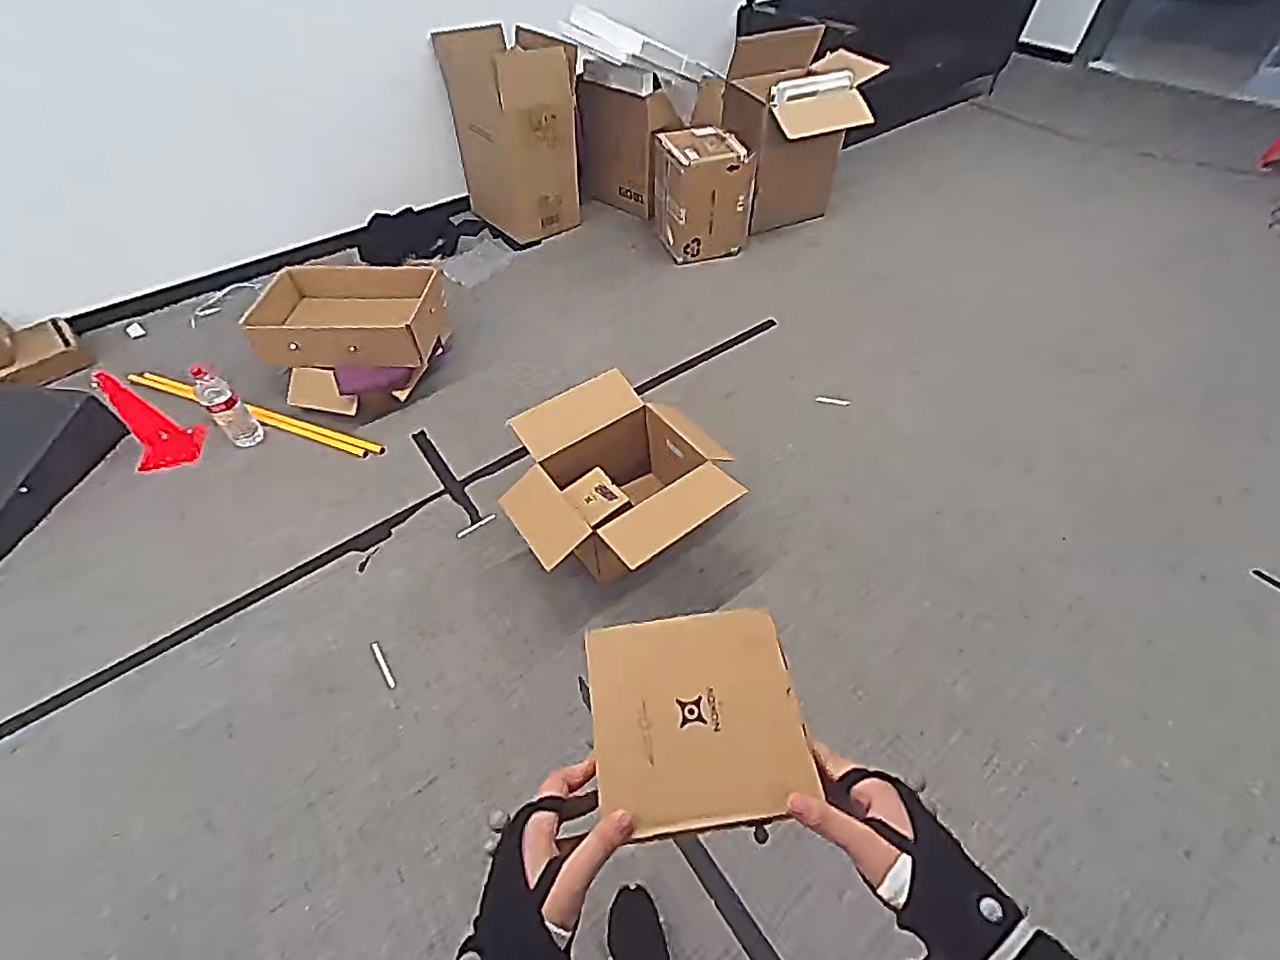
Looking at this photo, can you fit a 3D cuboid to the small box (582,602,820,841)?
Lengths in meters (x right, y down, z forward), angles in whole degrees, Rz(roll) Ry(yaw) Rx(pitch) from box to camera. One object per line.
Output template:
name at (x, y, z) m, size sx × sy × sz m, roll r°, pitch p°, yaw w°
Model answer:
small box at (0.045, 0.236, 0.519) m, size 0.179 × 0.176 × 0.168 m, roll -8°, pitch 55°, yaw -3°
